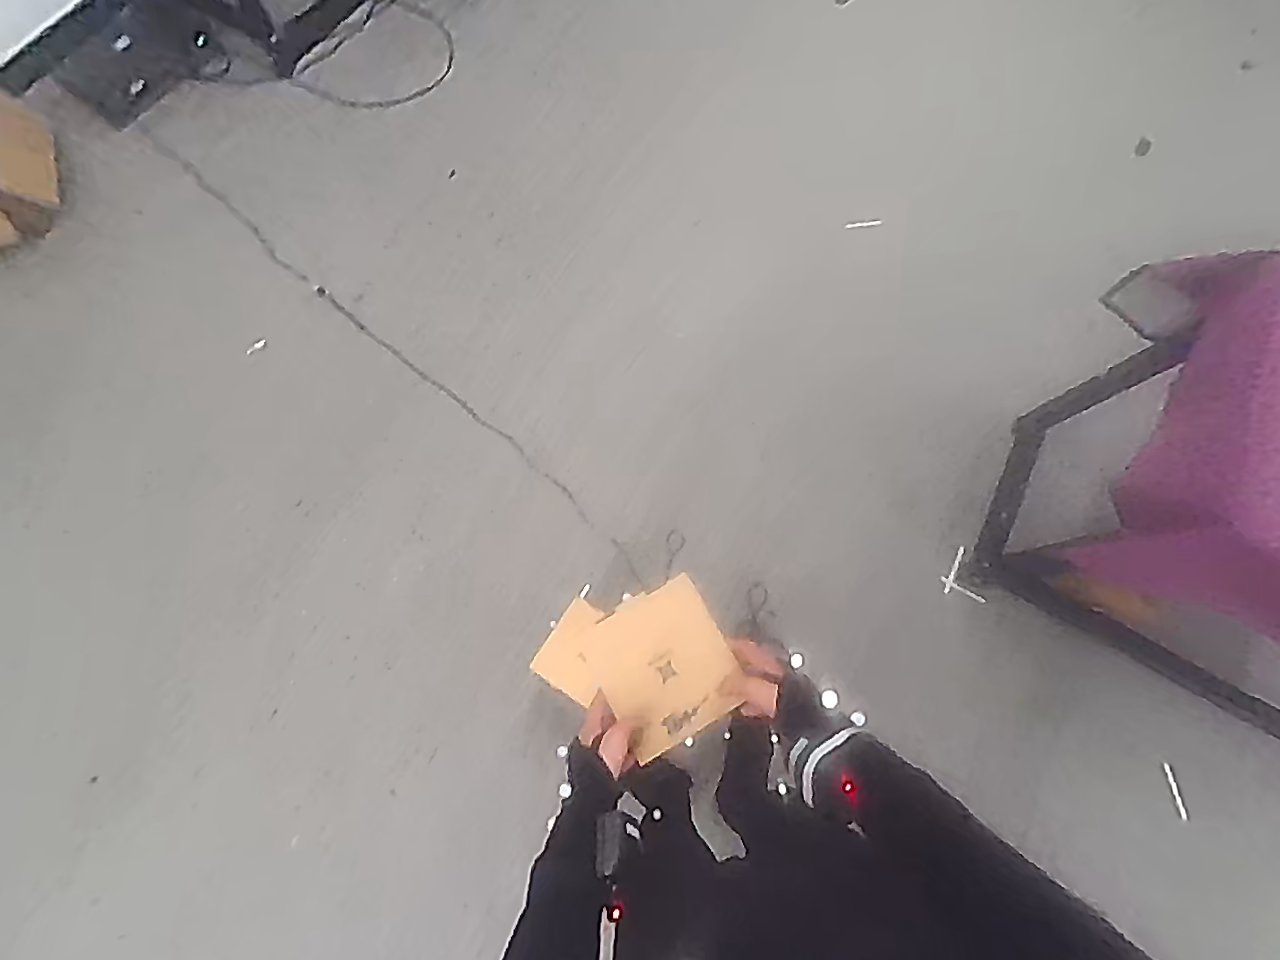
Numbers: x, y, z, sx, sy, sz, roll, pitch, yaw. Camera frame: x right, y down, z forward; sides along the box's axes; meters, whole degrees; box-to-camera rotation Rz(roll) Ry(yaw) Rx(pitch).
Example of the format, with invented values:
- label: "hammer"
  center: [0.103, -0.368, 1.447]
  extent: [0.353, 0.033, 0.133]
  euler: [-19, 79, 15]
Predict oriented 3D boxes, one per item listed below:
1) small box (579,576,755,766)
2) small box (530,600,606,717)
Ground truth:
- label: "small box"
  center: [0.030, 0.255, 0.748]
  extent: [0.168, 0.176, 0.179]
  euler: [-28, 77, -8]
- label: "small box"
  center: [-0.114, 0.389, 1.188]
  extent: [0.168, 0.176, 0.179]
  euler: [32, 74, 7]
